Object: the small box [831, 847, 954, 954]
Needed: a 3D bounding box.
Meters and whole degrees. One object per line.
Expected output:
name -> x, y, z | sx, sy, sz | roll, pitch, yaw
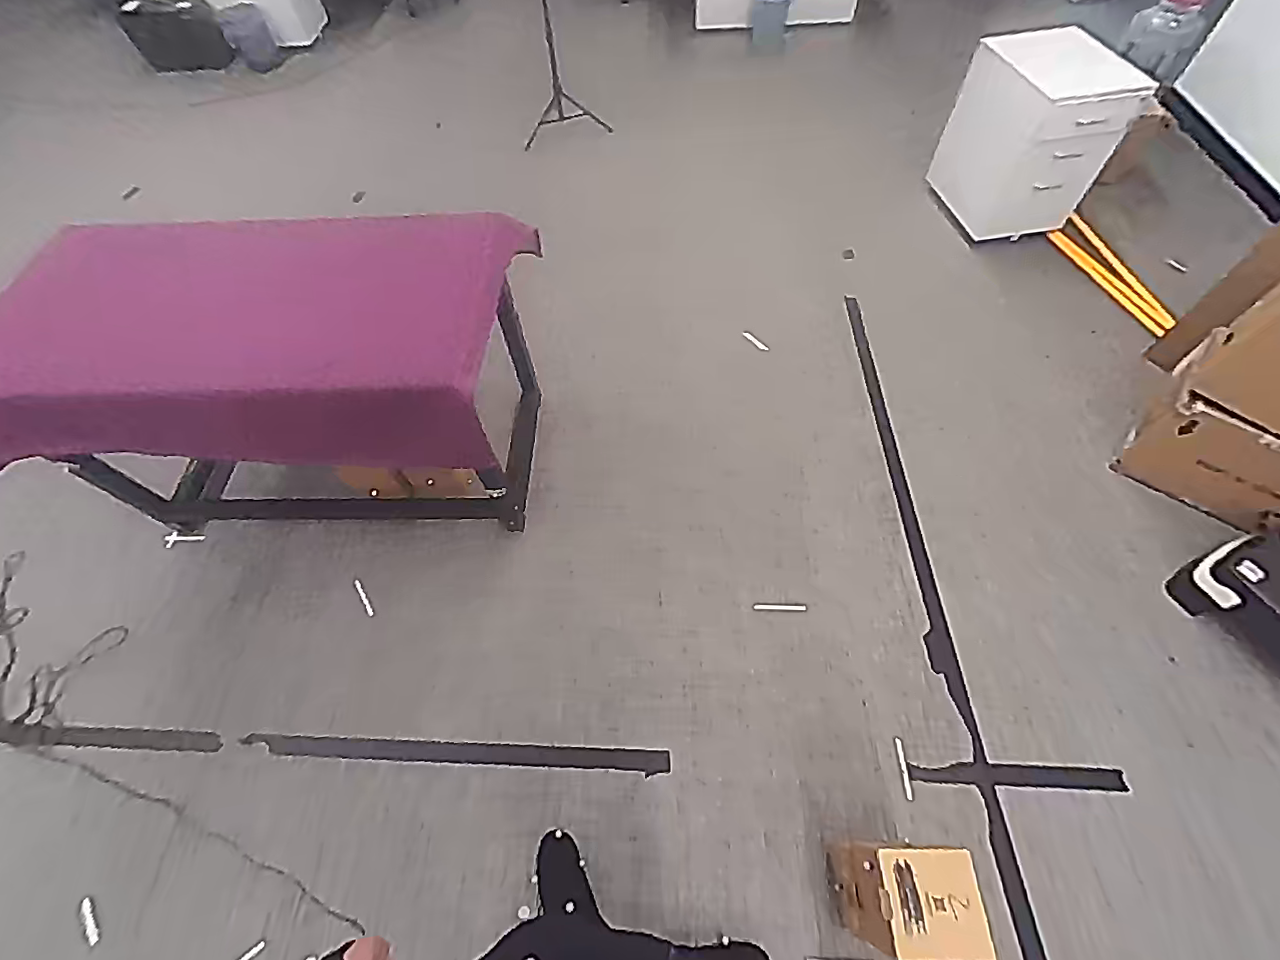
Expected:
small box -> 0.538, 0.906, 1.178 | 0.179, 0.176, 0.168 | -3, 59, 2
